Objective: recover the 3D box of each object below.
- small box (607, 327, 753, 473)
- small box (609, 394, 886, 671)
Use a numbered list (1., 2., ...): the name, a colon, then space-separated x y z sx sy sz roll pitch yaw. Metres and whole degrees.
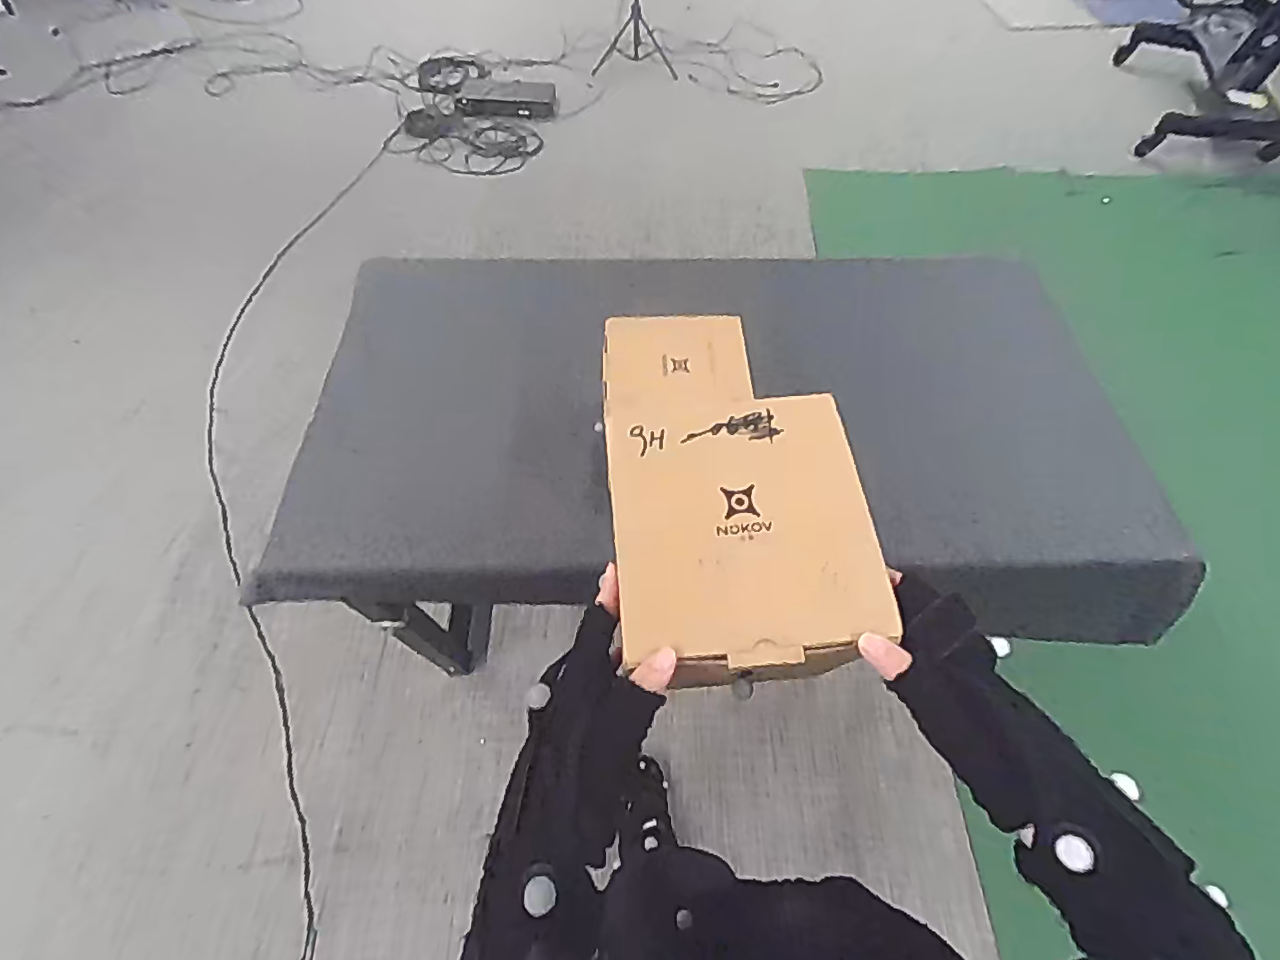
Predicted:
1. small box: 0.047 -0.087 0.735 0.179 0.176 0.168 -1 59 -2
2. small box: 0.066 0.054 0.436 0.168 0.176 0.179 -5 65 -2
